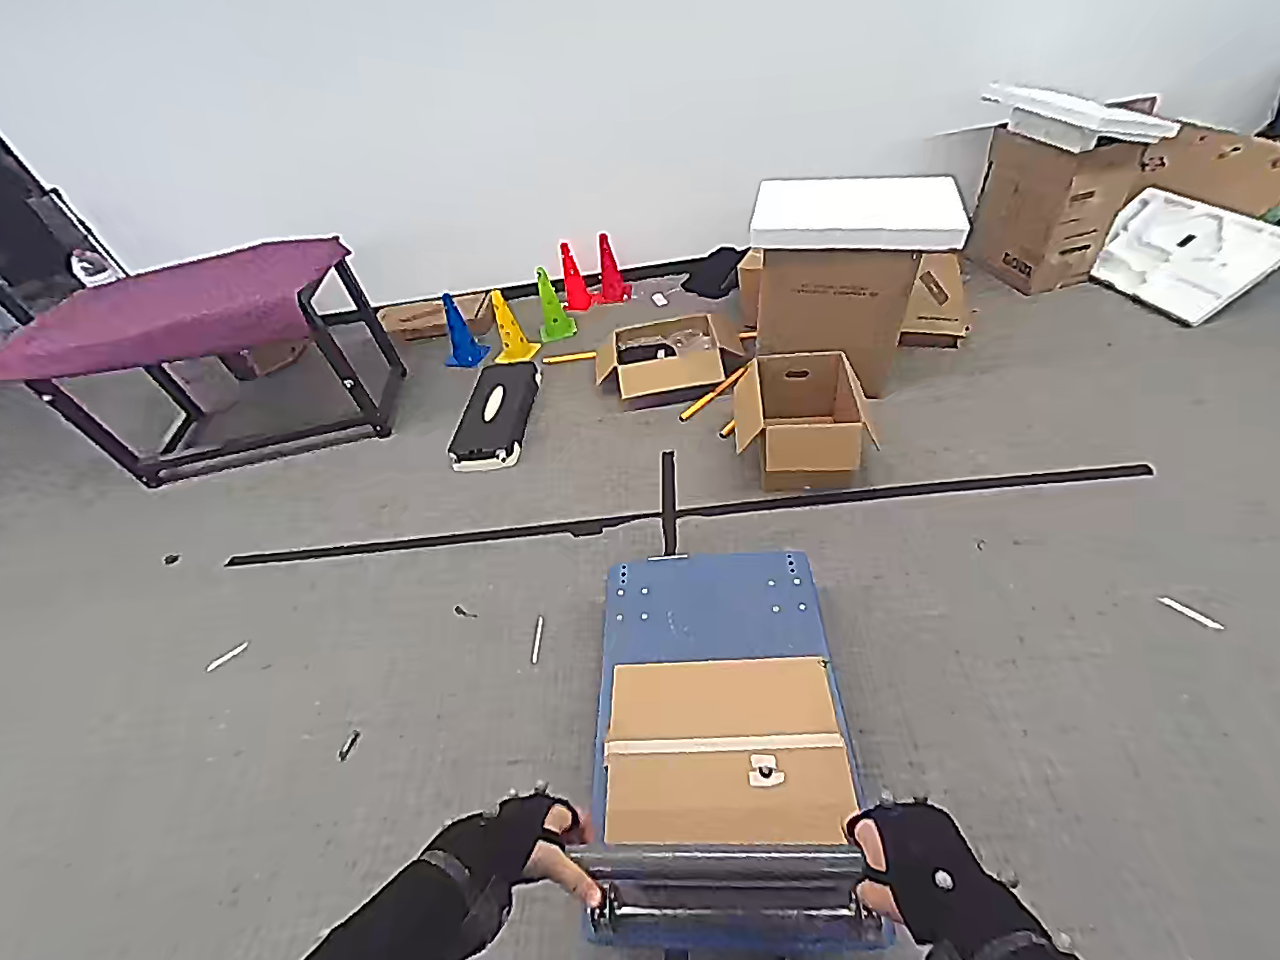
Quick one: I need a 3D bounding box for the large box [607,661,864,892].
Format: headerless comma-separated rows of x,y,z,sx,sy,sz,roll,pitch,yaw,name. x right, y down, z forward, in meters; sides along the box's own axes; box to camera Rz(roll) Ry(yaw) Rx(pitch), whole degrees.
0.162,0.572,1.038,0.408,0.320,0.320,-4,45,6,large box
